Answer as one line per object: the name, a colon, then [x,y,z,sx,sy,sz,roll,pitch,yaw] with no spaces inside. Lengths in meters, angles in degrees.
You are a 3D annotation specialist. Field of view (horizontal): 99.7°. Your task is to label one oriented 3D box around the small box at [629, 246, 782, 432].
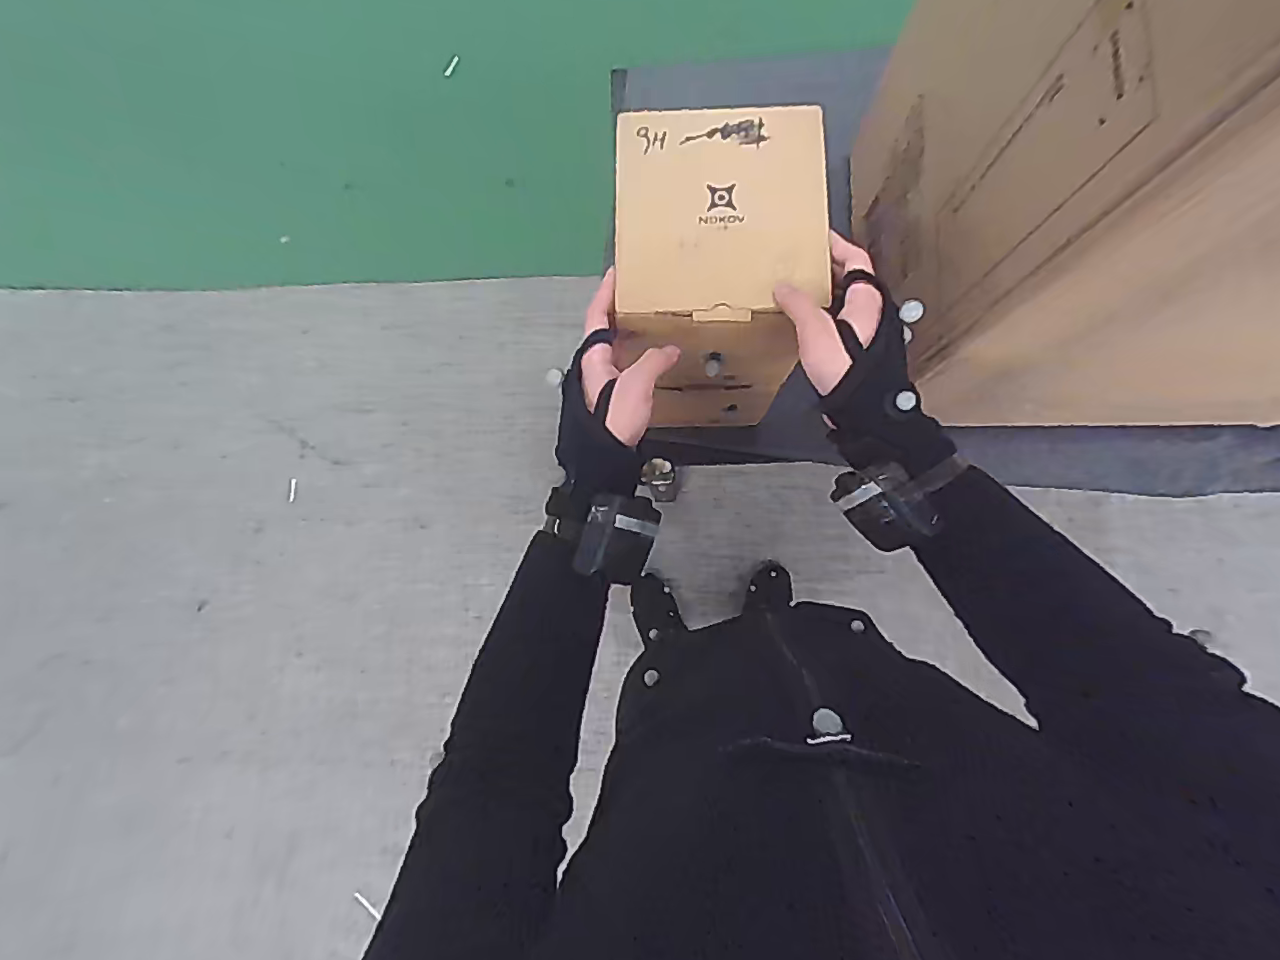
small box: [0.076,-0.161,0.675,0.168,0.176,0.179,-2,79,2]
